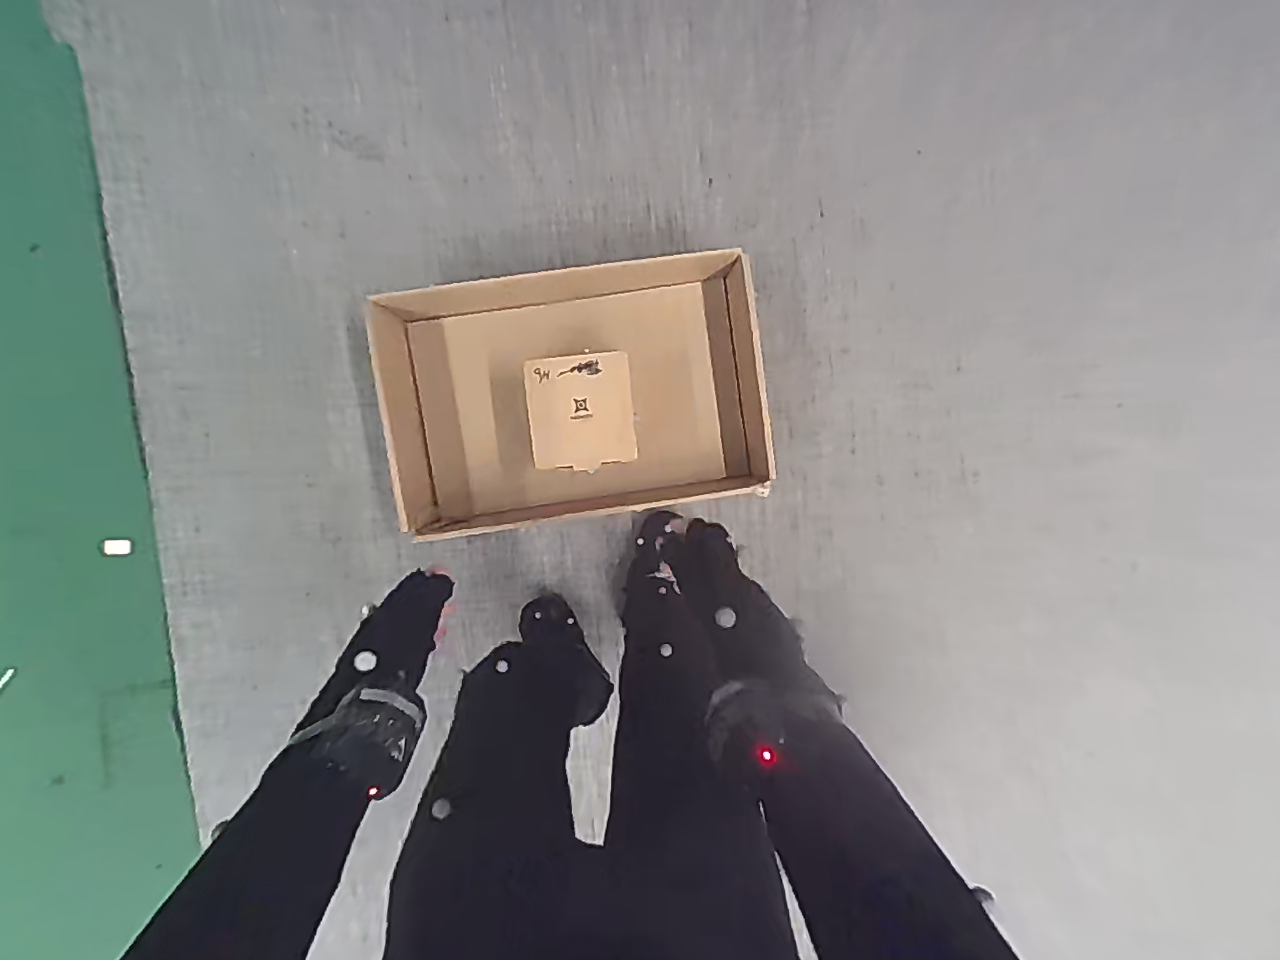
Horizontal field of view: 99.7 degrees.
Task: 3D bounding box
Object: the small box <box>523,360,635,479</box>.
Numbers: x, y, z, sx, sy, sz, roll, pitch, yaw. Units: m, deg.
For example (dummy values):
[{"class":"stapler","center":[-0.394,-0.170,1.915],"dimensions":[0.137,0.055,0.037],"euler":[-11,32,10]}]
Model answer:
[{"class":"small box","center":[-0.095,-0.102,0.929],"dimensions":[0.168,0.176,0.179],"euler":[-6,95,-1]}]
